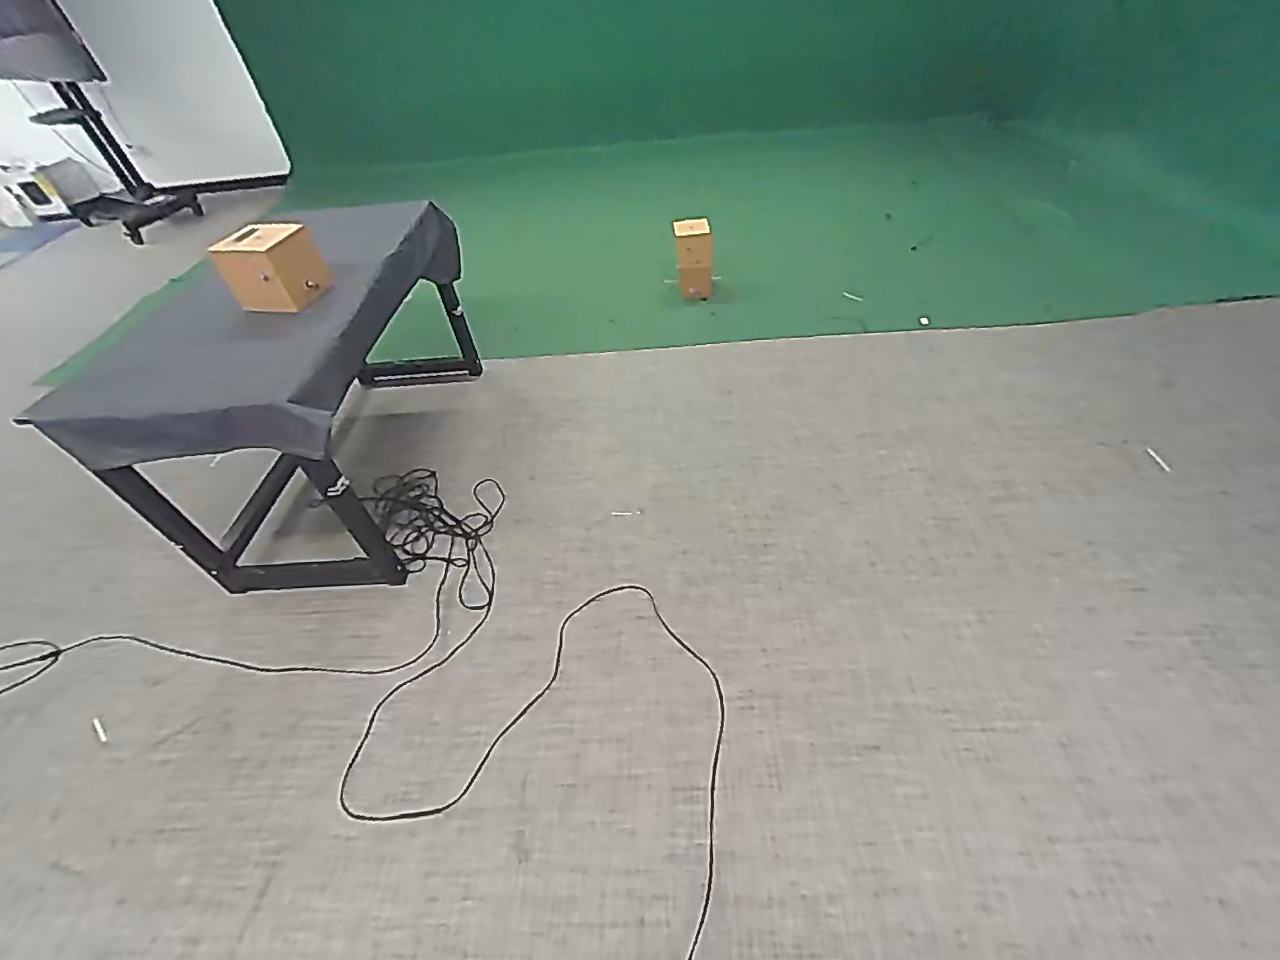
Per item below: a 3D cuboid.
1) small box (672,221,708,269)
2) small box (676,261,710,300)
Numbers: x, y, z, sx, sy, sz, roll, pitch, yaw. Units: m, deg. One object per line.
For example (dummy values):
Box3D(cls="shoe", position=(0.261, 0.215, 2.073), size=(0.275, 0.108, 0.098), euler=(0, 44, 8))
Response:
Box3D(cls="small box", position=(0.249, -1.162, 2.682), size=(0.168, 0.176, 0.179), euler=(-5, 45, 3))
Box3D(cls="small box", position=(0.273, -1.053, 2.801), size=(0.168, 0.176, 0.179), euler=(-4, 46, 4))
